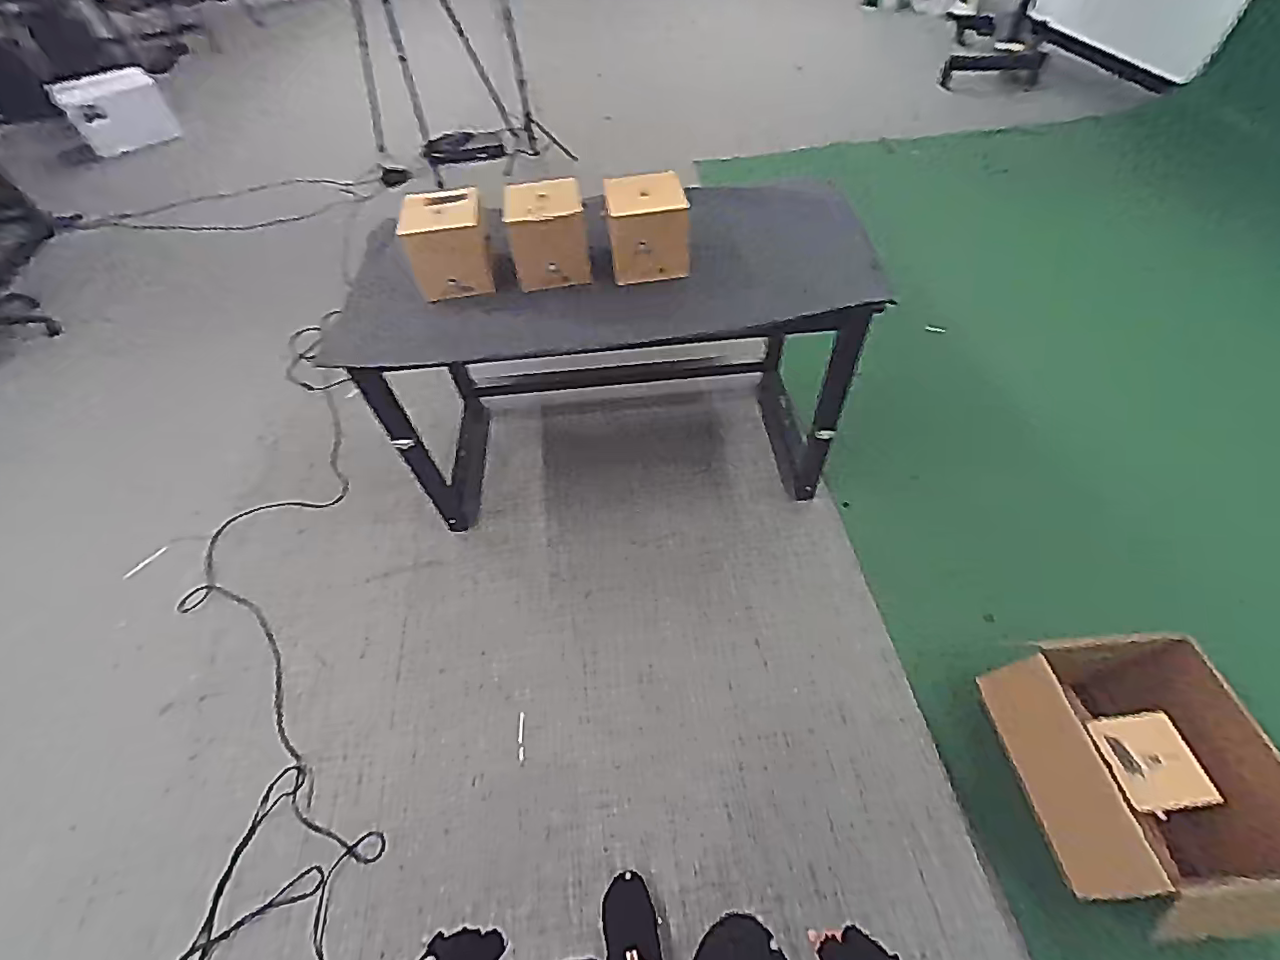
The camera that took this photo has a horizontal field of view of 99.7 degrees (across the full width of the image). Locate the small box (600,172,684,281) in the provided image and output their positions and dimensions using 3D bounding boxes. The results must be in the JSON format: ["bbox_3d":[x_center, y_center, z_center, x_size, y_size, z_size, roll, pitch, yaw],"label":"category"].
[{"bbox_3d":[0.007,-0.573,1.238,0.168,0.176,0.179,-9,52,-2],"label":"small box"}]
